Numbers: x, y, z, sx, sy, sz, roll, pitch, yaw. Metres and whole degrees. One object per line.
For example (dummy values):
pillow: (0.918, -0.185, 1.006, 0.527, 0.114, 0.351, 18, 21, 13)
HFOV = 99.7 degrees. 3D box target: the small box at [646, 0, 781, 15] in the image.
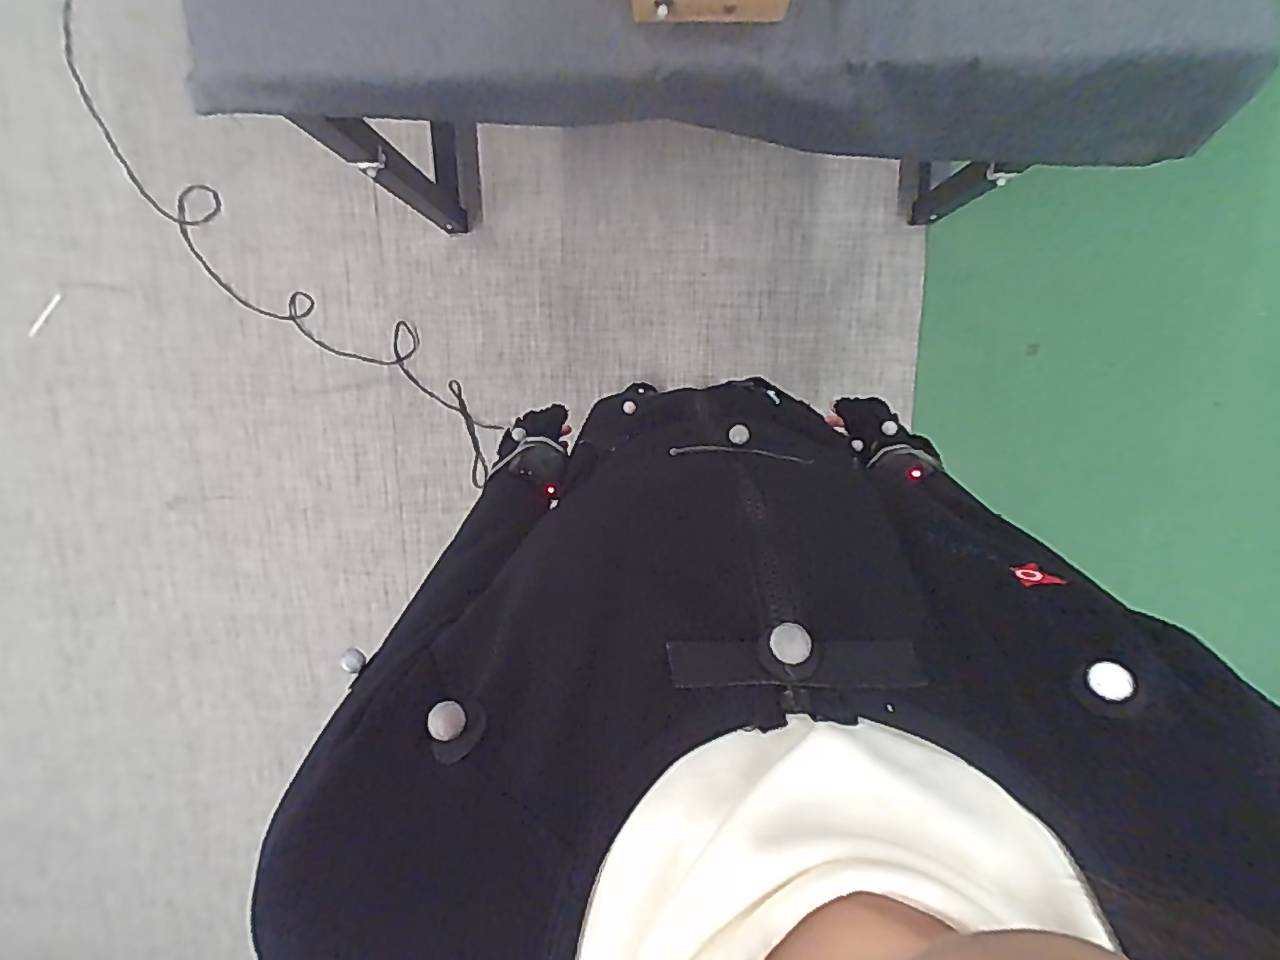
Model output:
small box: (0.075, -0.592, 0.516, 0.168, 0.176, 0.179, 1, 98, 1)
